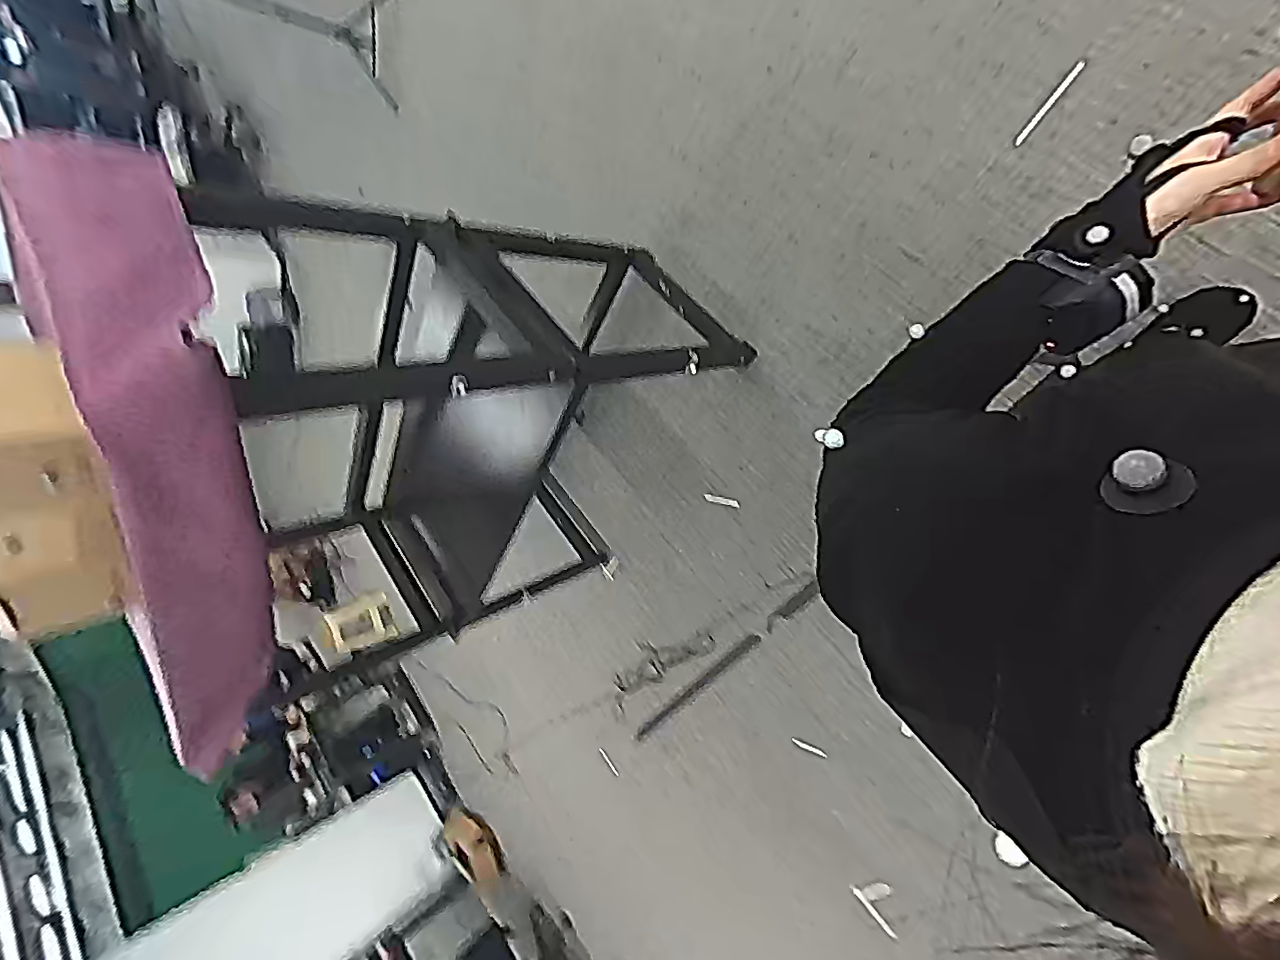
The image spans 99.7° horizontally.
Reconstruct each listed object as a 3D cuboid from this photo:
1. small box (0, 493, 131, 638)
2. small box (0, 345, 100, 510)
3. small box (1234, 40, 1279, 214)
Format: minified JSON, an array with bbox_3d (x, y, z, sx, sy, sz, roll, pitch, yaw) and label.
[{"bbox_3d":[-1.028,0.135,0.948,0.179,0.176,0.168,47,130,24],"label":"small box"},{"bbox_3d":[-0.875,-0.069,0.735,0.179,0.176,0.168,53,133,18],"label":"small box"},{"bbox_3d":[0.456,-0.234,0.266,0.179,0.176,0.168,13,122,35],"label":"small box"}]
